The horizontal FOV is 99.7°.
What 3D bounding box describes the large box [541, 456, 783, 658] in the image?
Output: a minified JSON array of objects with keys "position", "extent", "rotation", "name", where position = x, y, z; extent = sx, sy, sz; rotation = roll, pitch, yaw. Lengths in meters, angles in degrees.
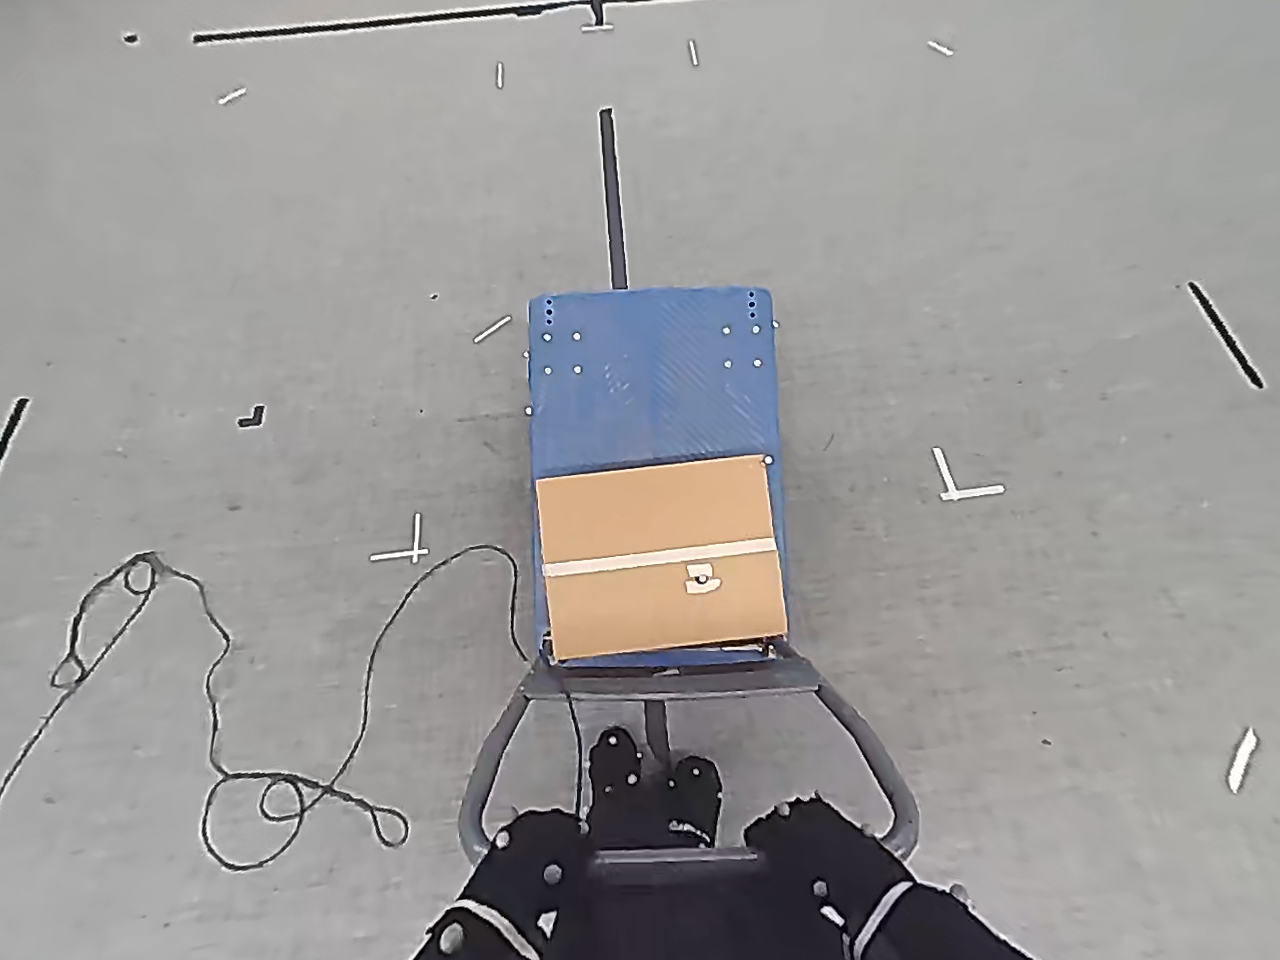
[{"position":[0.035,0.147,1.104],"extent":[0.408,0.320,0.320],"rotation":[-7,86,-1],"name":"large box"}]
